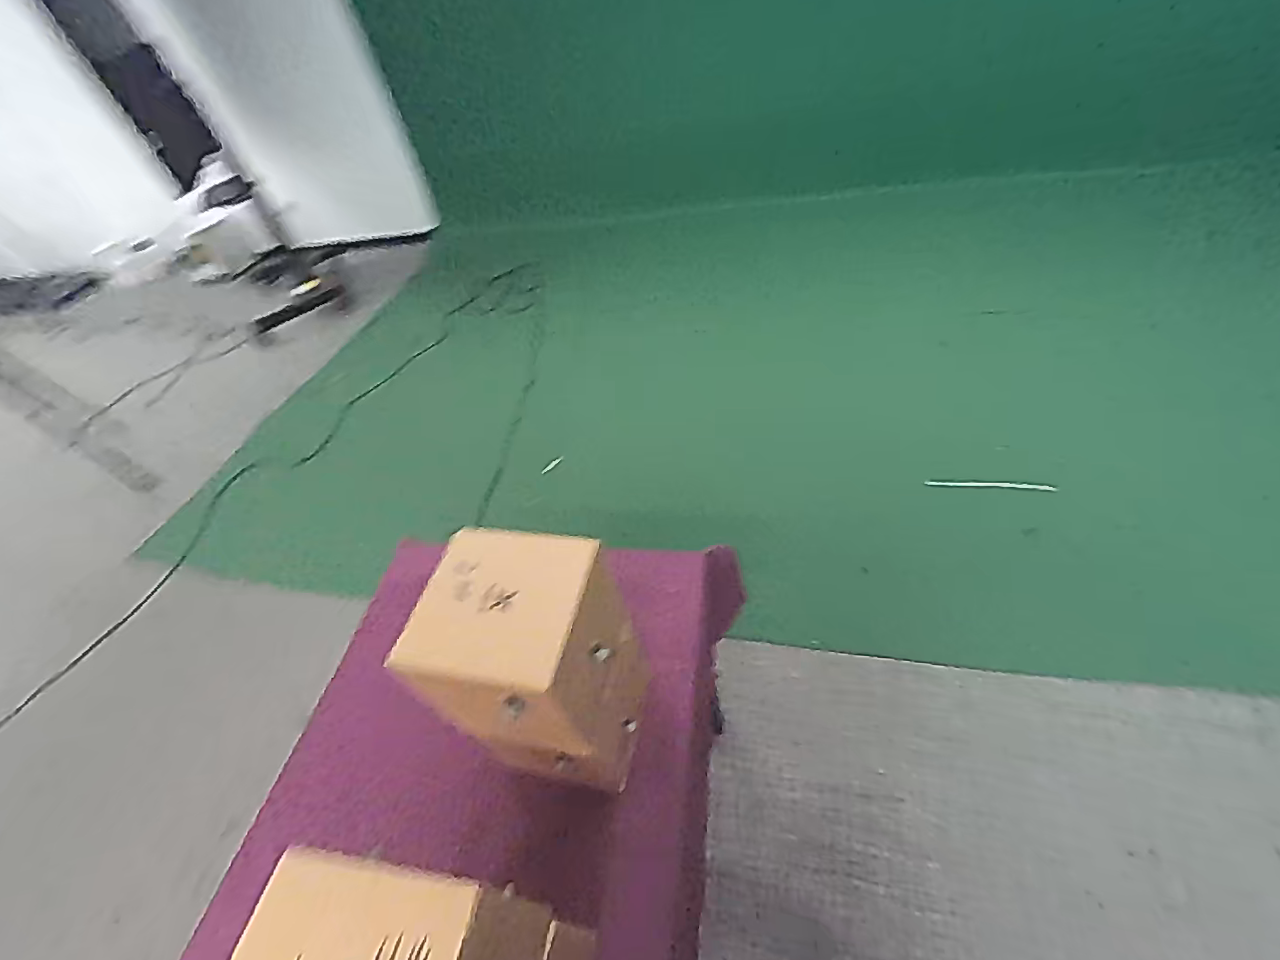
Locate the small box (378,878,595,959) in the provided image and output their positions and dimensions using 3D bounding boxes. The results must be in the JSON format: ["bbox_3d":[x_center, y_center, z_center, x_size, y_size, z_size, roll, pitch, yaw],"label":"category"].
[{"bbox_3d":[-0.155,0.521,0.525,0.168,0.176,0.179,2,48,16],"label":"small box"}]

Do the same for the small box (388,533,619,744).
[{"bbox_3d":[-0.133,0.180,0.614,0.179,0.176,0.168,2,47,16],"label":"small box"}]

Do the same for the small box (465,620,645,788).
[{"bbox_3d":[-0.104,0.293,0.730,0.179,0.176,0.168,3,48,17],"label":"small box"}]
